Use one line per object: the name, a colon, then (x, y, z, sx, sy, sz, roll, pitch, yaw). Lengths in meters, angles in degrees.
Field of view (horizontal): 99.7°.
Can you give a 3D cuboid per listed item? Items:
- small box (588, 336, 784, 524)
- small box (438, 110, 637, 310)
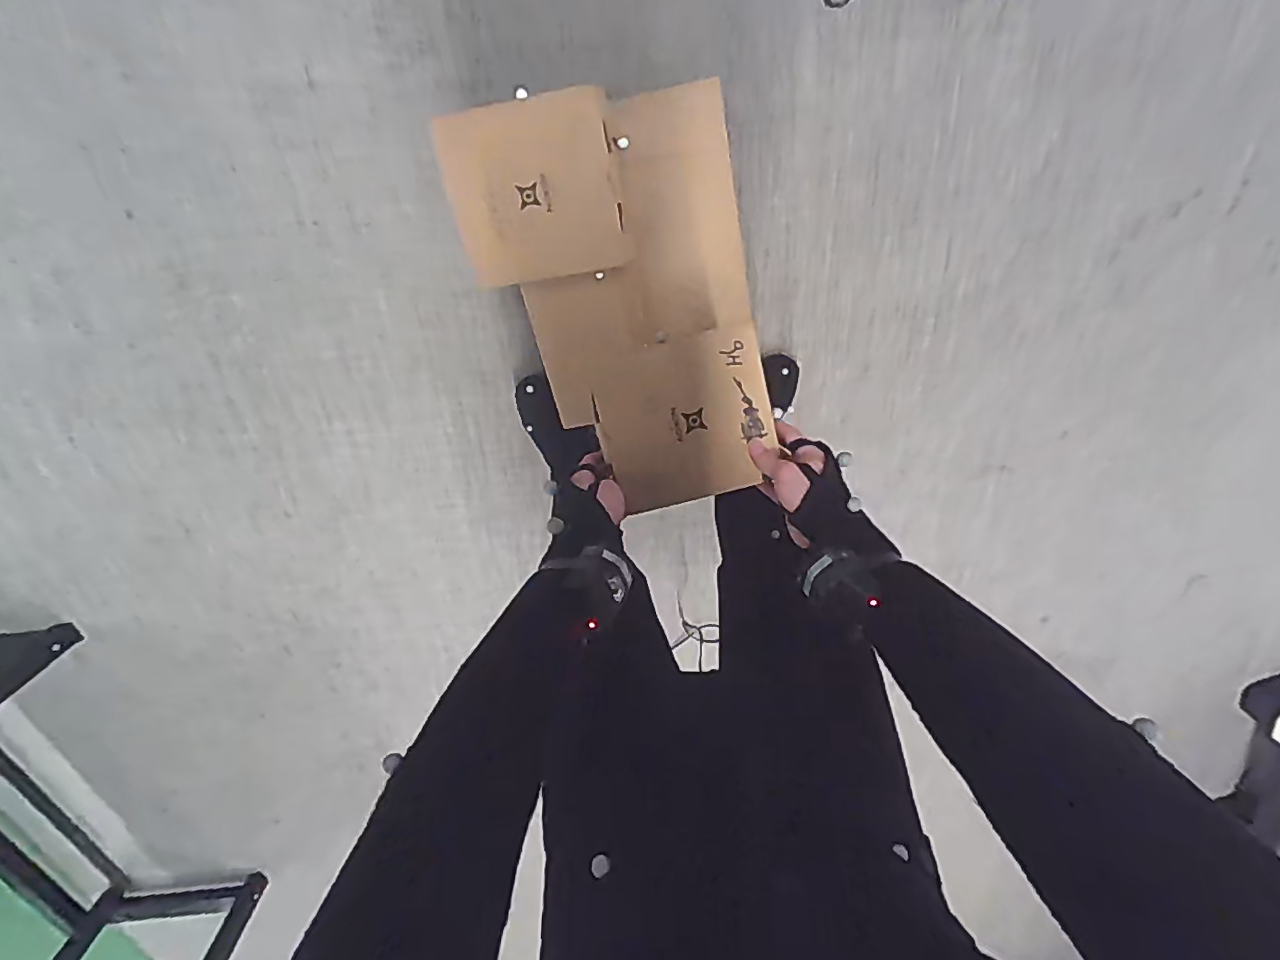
small box: (0.054, -0.063, 0.633, 0.179, 0.176, 0.168, -13, 101, 6)
small box: (-0.101, -0.309, 0.635, 0.179, 0.176, 0.168, -8, 114, 8)
